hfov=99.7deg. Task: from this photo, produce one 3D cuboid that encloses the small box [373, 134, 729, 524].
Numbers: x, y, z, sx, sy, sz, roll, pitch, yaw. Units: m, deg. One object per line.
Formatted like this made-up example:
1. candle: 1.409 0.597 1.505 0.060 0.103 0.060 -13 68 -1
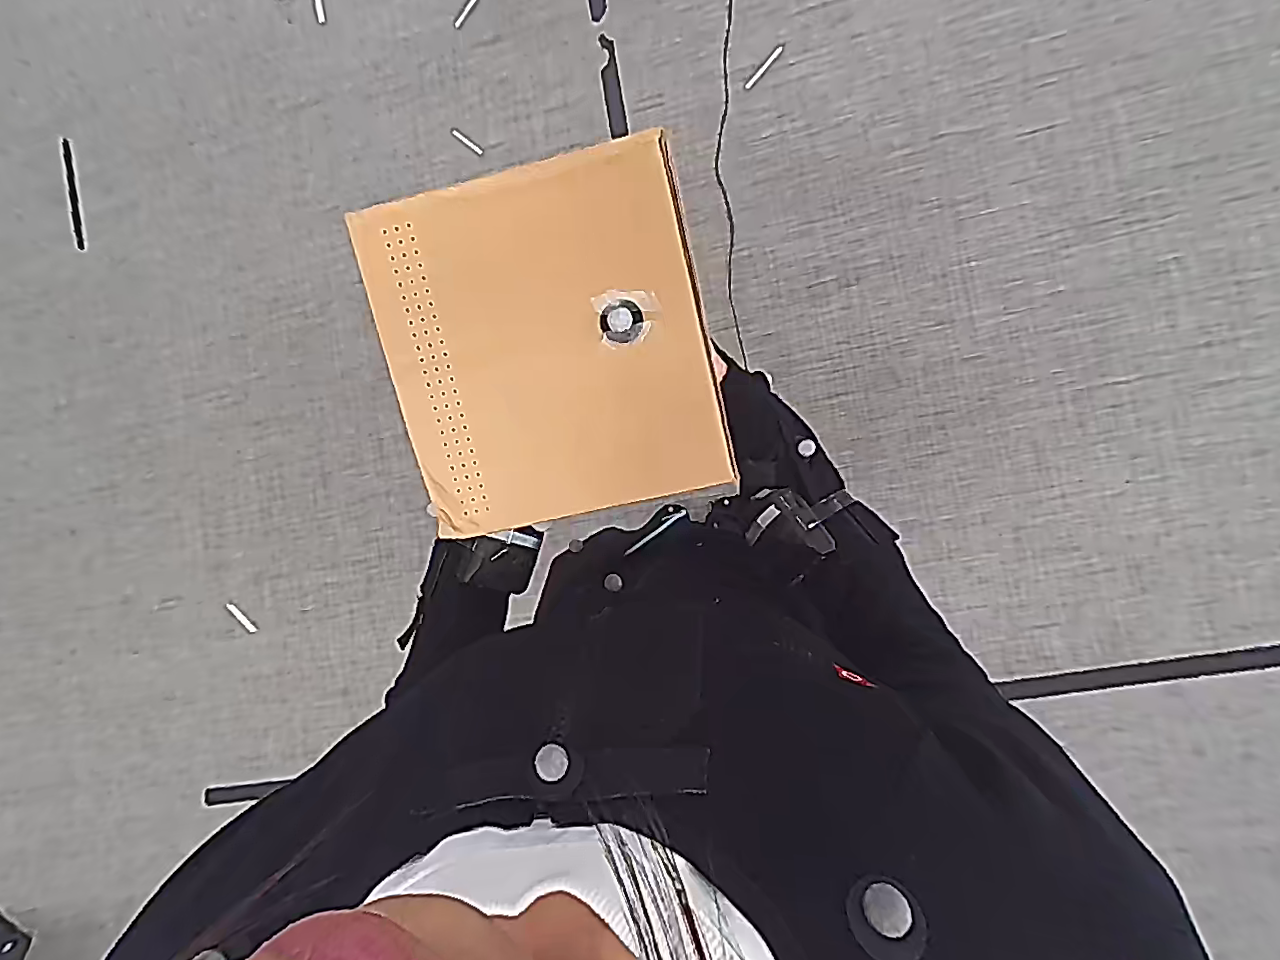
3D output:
1. small box: -0.047 -0.085 0.364 0.176 0.168 0.179 -12 99 6
